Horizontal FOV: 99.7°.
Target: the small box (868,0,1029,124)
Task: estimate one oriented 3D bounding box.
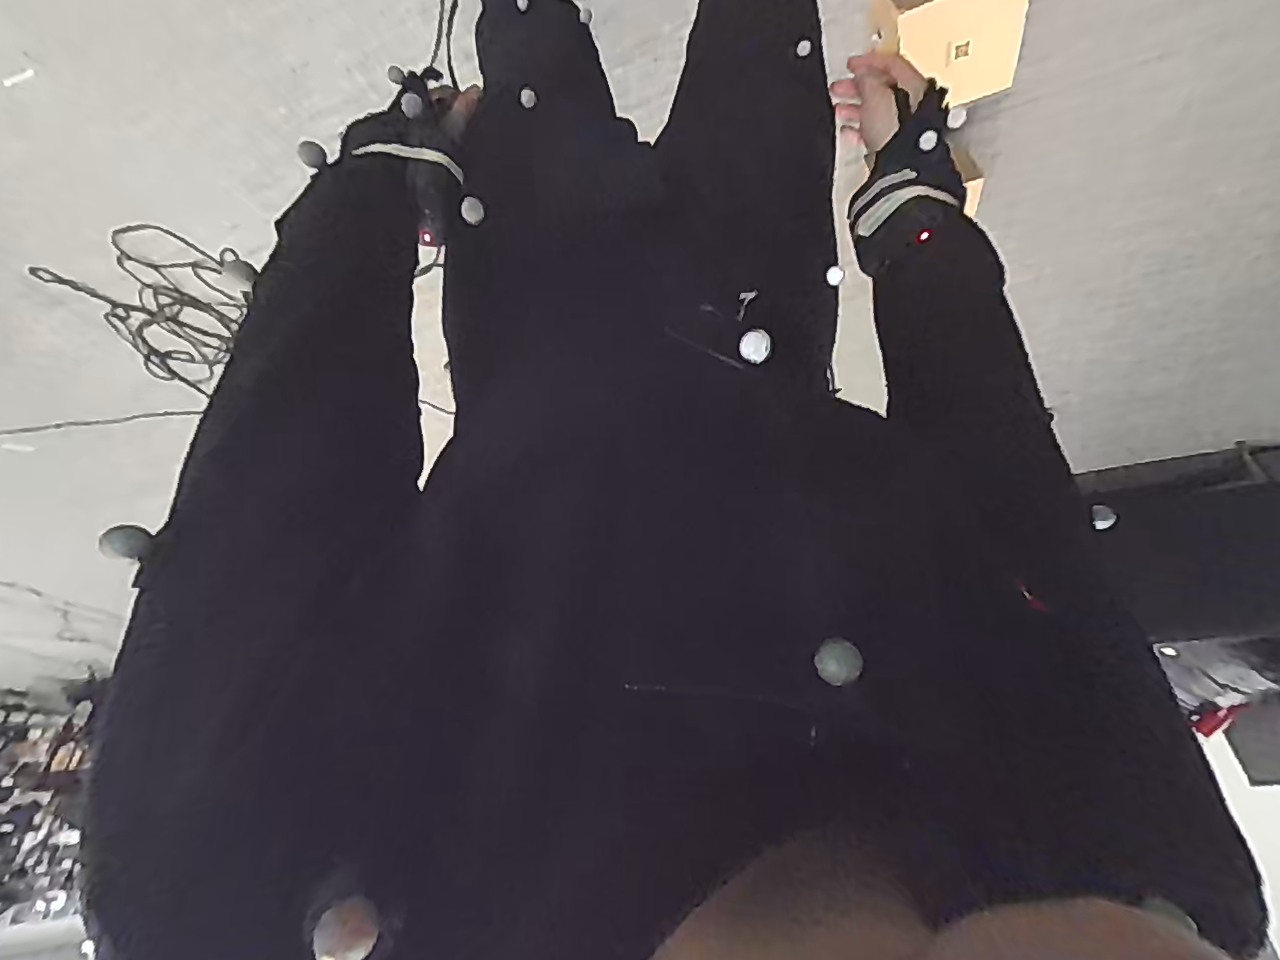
[{"bbox_3d":[0.469,-0.710,0.841,0.179,0.176,0.168,-12,148,17],"label":"small box"}]
